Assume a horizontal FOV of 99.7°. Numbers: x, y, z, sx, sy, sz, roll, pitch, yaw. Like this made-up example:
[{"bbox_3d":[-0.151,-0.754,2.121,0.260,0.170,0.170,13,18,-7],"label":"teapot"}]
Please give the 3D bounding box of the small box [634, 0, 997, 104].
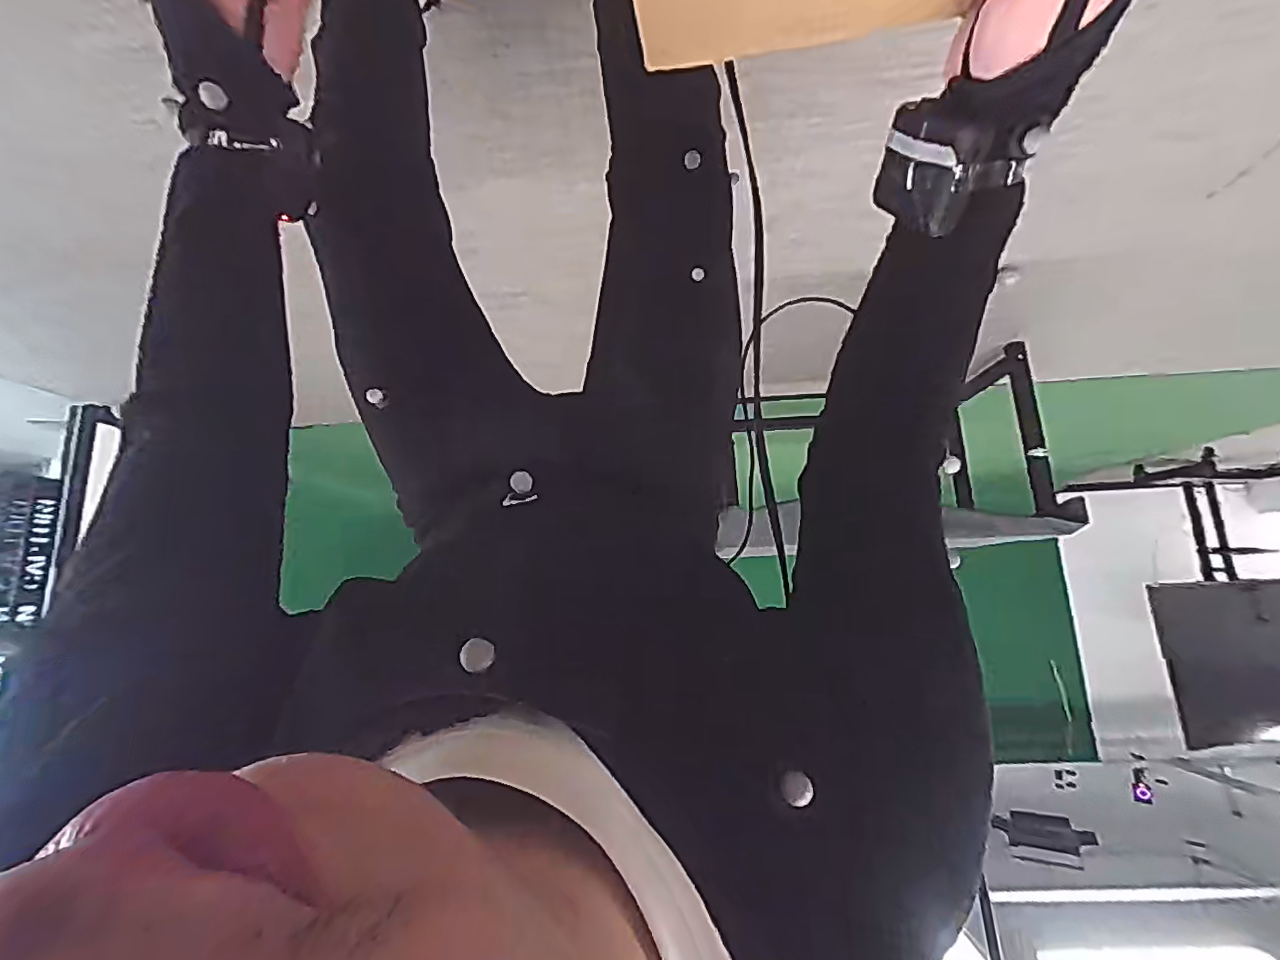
[{"bbox_3d":[0.078,-0.312,0.234,0.179,0.176,0.168,-1,172,8],"label":"small box"}]
